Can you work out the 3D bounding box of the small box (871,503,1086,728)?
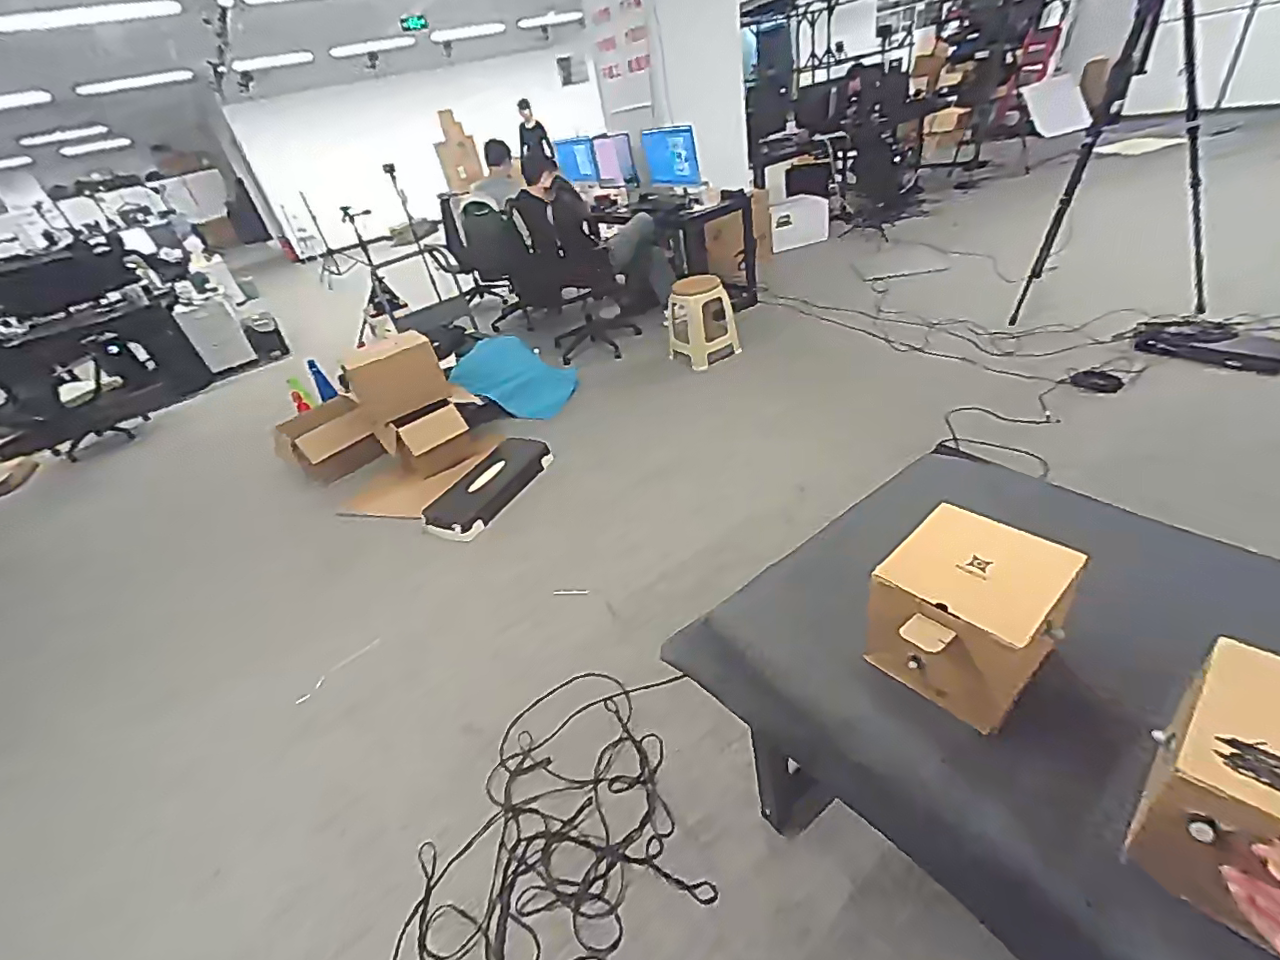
[{"bbox_3d":[0.411,0.165,0.683,0.179,0.176,0.168,-33,40,-27],"label":"small box"}]
